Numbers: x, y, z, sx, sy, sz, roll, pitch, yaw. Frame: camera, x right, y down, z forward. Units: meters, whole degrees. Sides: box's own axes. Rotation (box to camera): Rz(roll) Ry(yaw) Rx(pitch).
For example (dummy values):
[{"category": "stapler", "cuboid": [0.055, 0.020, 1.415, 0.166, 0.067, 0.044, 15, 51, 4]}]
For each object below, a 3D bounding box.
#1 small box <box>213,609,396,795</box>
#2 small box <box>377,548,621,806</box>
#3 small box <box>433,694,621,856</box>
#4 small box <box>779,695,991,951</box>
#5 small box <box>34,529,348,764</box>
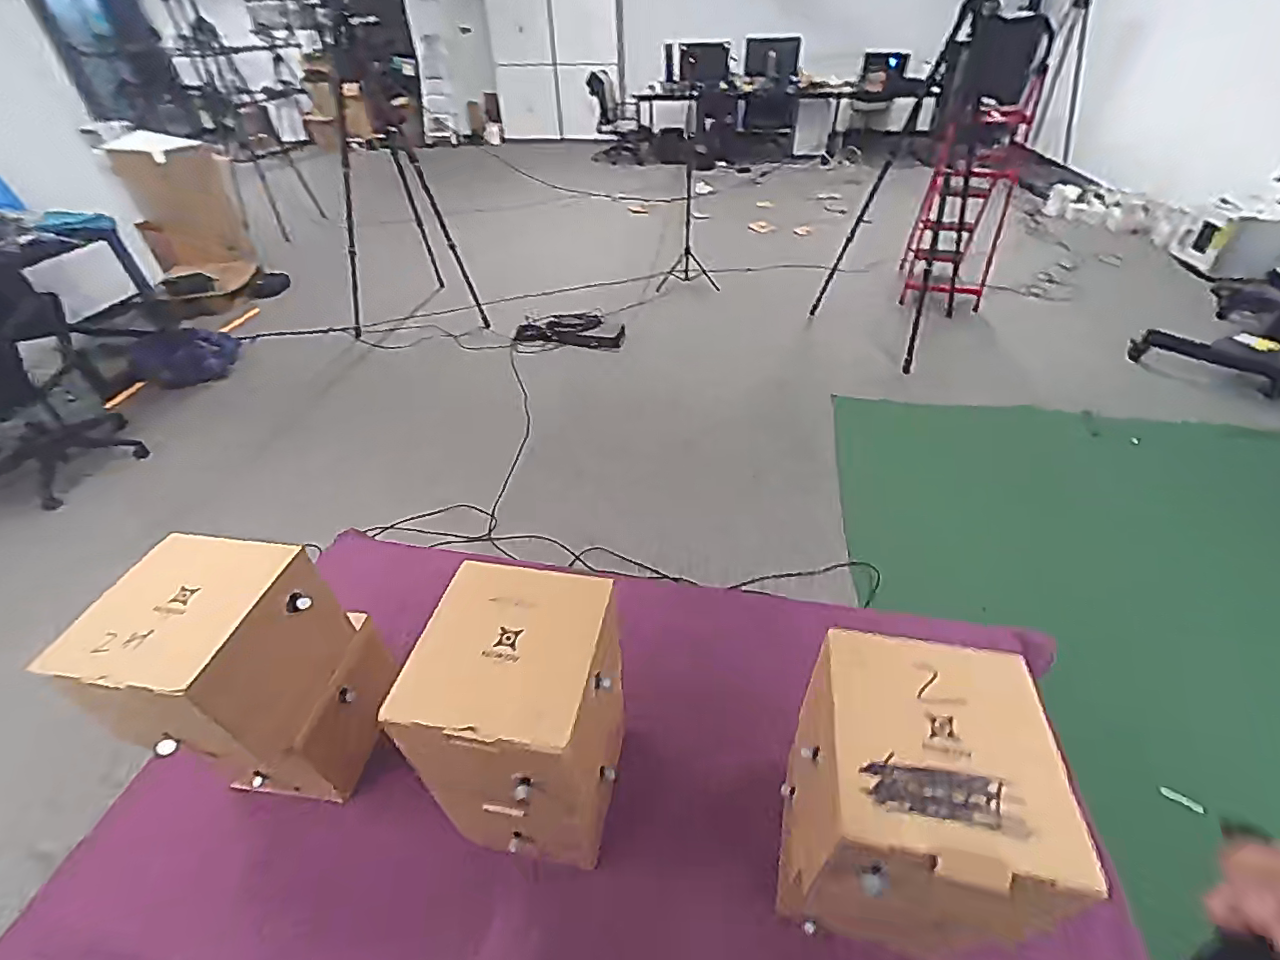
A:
[{"category": "small box", "cuboid": [-0.448, 0.287, 0.719, 0.168, 0.176, 0.179, 4, 42, 5]}, {"category": "small box", "cuboid": [-0.116, 0.195, 0.539, 0.168, 0.176, 0.179, 6, 42, 9]}, {"category": "small box", "cuboid": [-0.119, 0.331, 0.662, 0.168, 0.176, 0.179, 4, 41, 8]}, {"category": "small box", "cuboid": [0.252, 0.375, 0.595, 0.168, 0.176, 0.179, 9, 42, 13]}, {"category": "small box", "cuboid": [-0.456, 0.179, 0.593, 0.168, 0.176, 0.179, 4, 43, 7]}]
